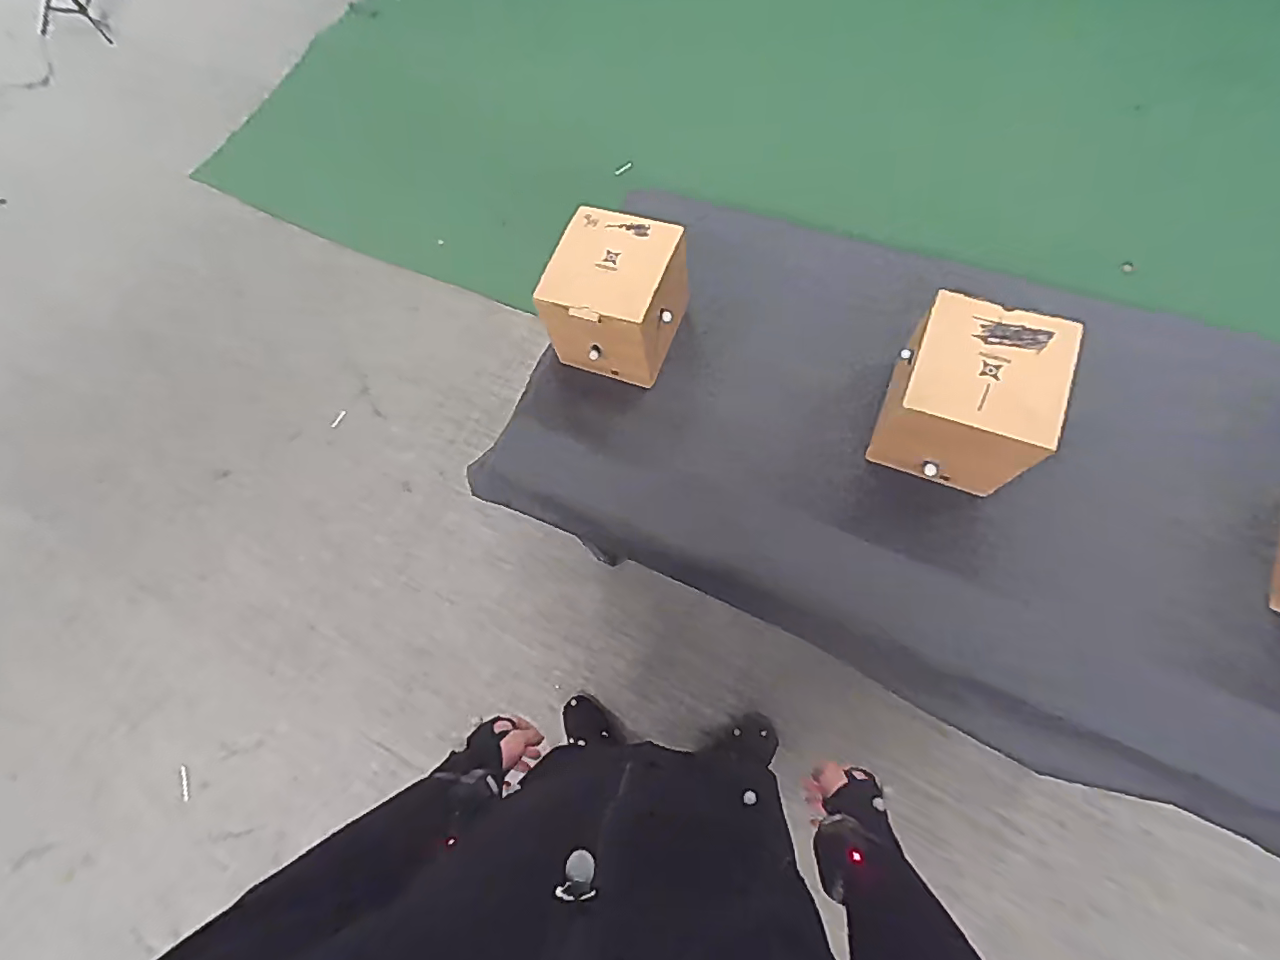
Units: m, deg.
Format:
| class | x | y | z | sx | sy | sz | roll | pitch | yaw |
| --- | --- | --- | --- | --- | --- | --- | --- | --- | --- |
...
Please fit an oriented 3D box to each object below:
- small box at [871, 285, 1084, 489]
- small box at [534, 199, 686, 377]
| class | x | y | z | sx | sy | sz | roll | pitch | yaw |
| --- | --- | --- | --- | --- | --- | --- | --- | --- | --- |
| small box | 0.421 | -0.112 | 0.703 | 0.168 | 0.176 | 0.179 | 21 | 76 | 14 |
| small box | -0.032 | -0.284 | 0.826 | 0.168 | 0.176 | 0.179 | 19 | 75 | 13 |
